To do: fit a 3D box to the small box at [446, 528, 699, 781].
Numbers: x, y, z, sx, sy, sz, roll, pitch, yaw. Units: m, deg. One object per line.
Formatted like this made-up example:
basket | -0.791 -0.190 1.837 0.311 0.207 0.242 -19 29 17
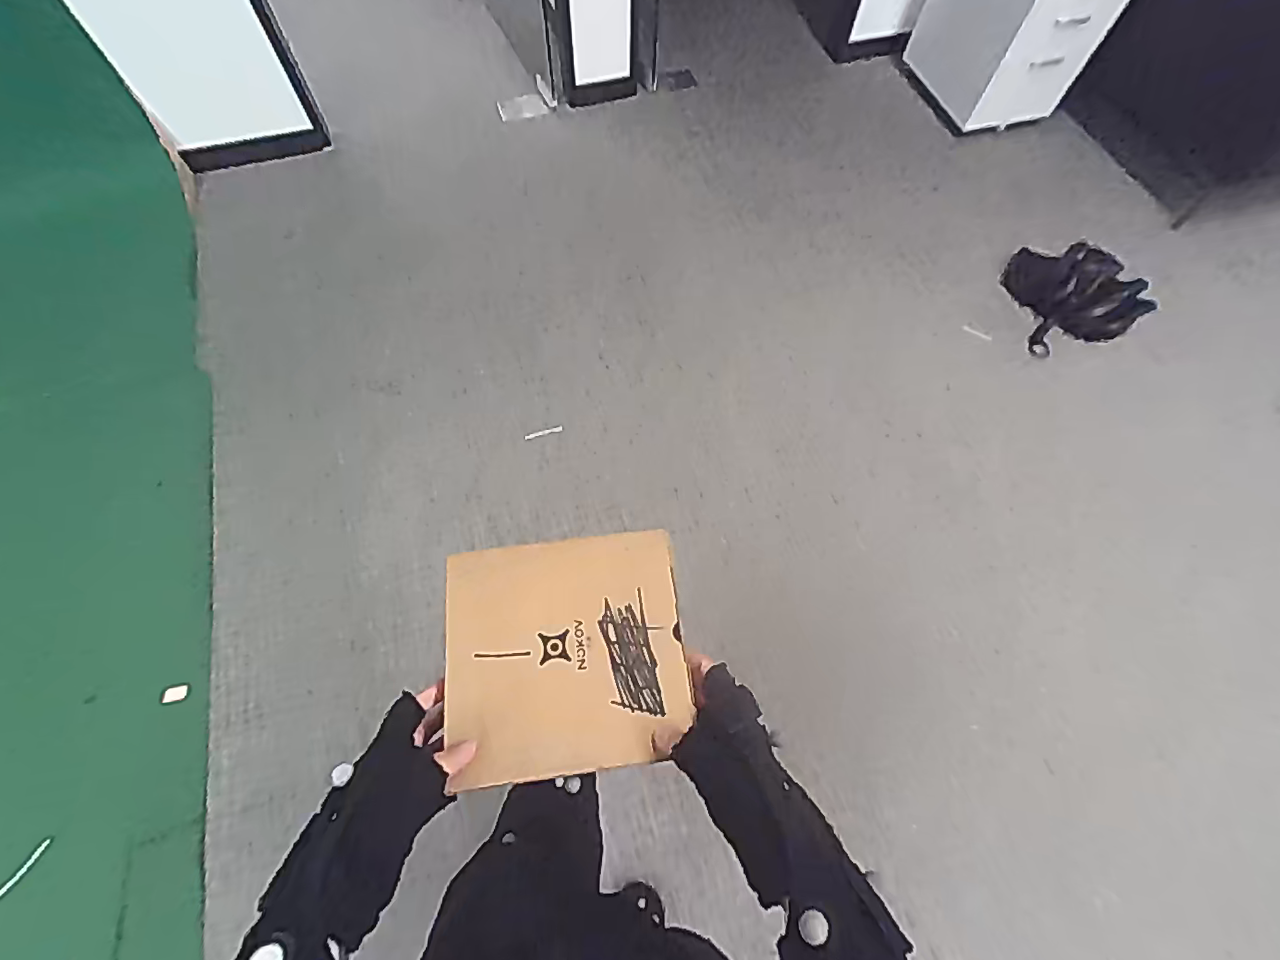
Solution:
small box | -0.057 0.153 0.473 0.179 0.176 0.168 -6 65 -5
